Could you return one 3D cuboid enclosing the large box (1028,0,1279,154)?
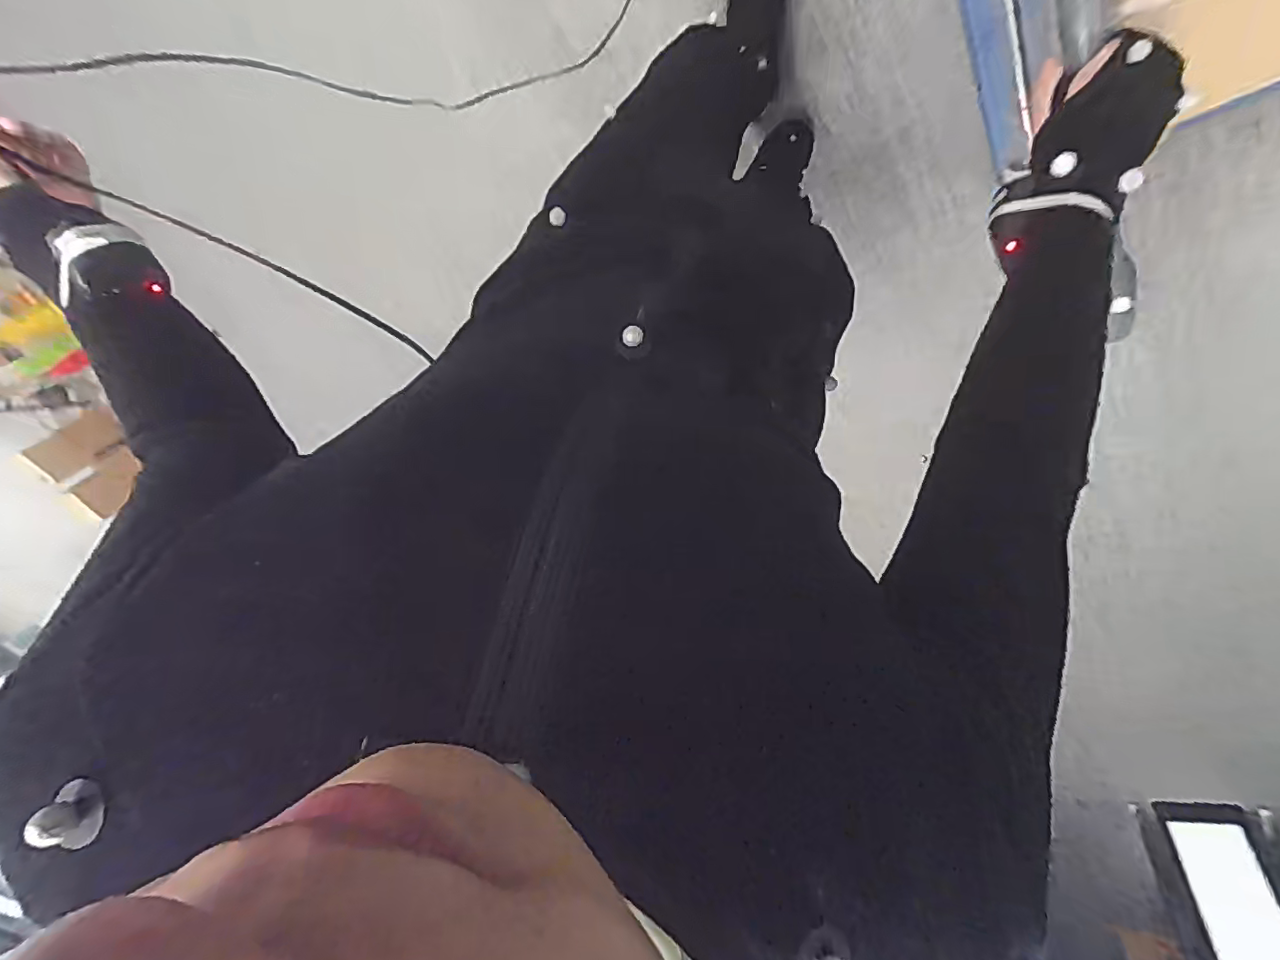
[{"bbox_3d":[0.768,-0.696,0.682,0.408,0.320,0.320,-16,123,31],"label":"large box"}]
